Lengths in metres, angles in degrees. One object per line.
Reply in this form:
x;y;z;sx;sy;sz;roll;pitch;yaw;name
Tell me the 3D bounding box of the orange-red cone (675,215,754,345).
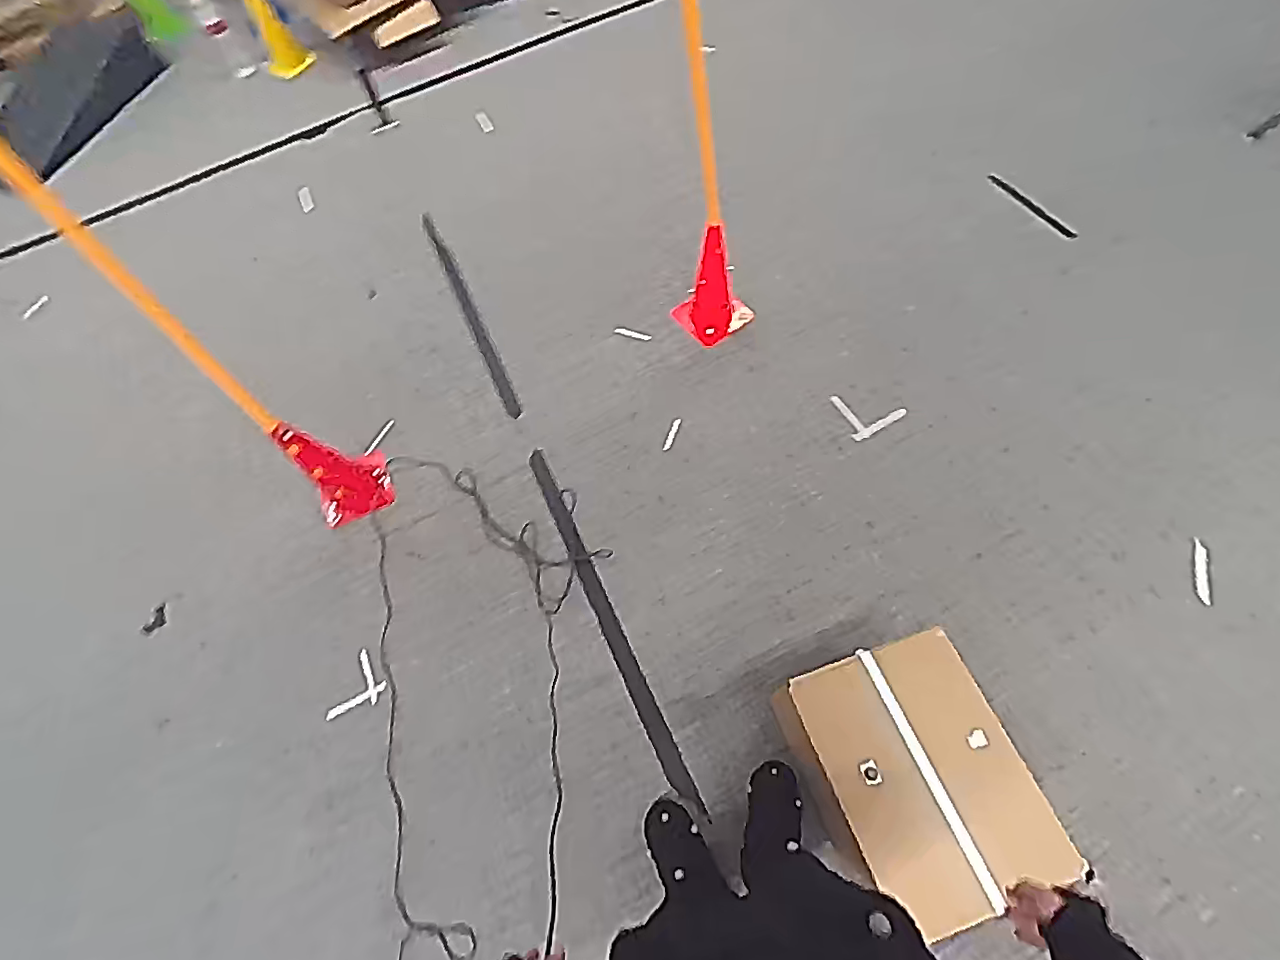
0.223;-0.604;1.569;0.199;0.360;0.198;-34;67;-11;orange-red cone
